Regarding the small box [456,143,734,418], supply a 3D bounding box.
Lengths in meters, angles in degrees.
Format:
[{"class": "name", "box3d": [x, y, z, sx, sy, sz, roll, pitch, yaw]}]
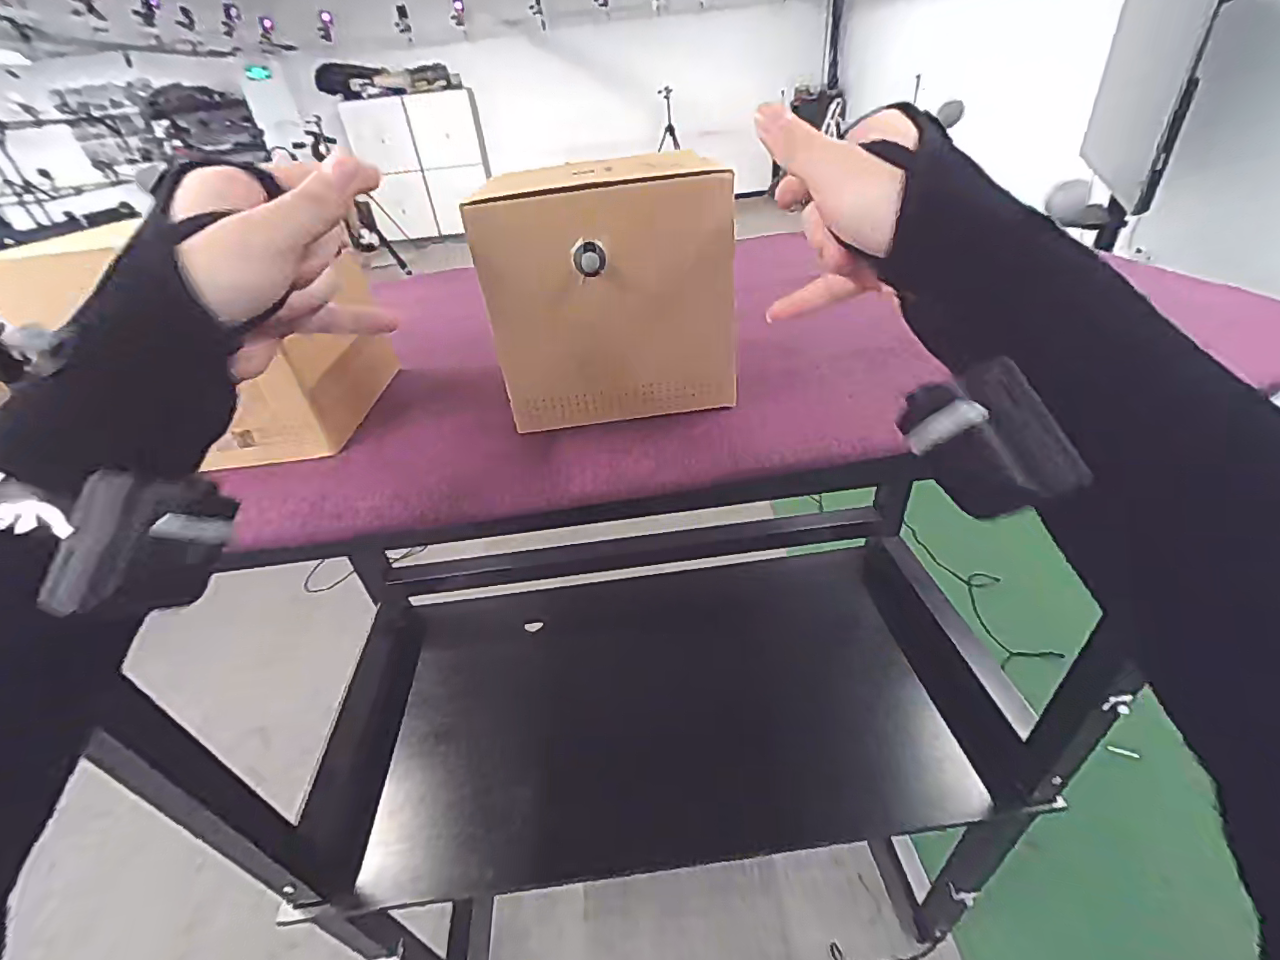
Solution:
[{"class": "small box", "box3d": [-0.025, -0.163, 0.441, 0.179, 0.176, 0.168, -7, 36, 0]}]

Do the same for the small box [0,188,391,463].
[{"class": "small box", "box3d": [-0.331, -0.125, 0.443, 0.168, 0.176, 0.179, -7, 35, 0]}]
